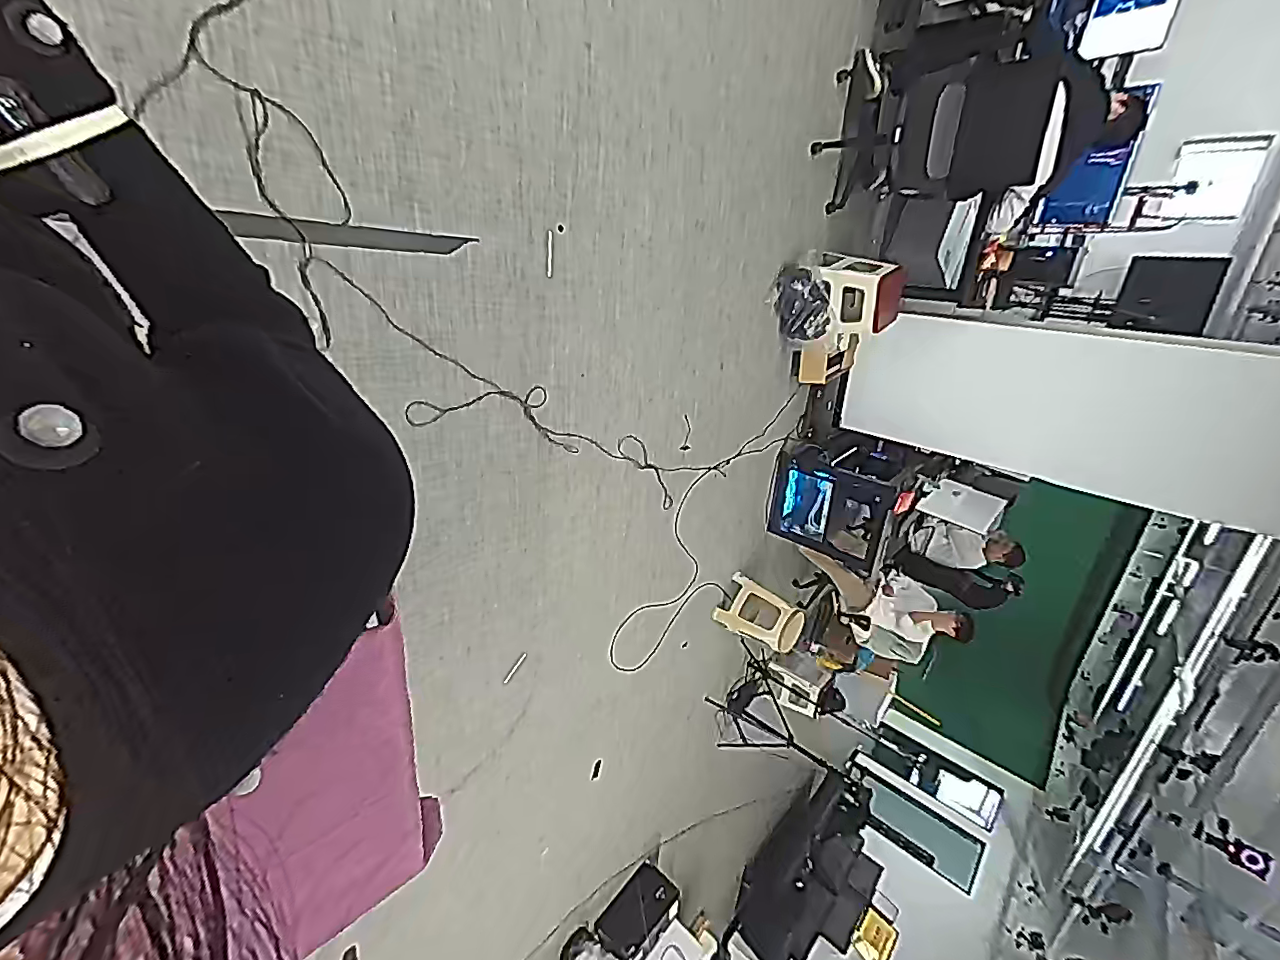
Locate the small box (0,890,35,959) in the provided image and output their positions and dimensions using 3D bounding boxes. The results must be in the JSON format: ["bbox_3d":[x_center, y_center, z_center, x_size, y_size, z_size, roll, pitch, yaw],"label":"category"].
[{"bbox_3d":[-0.739,0.570,0.541,0.168,0.176,0.179,-17,121,-47],"label":"small box"}]
